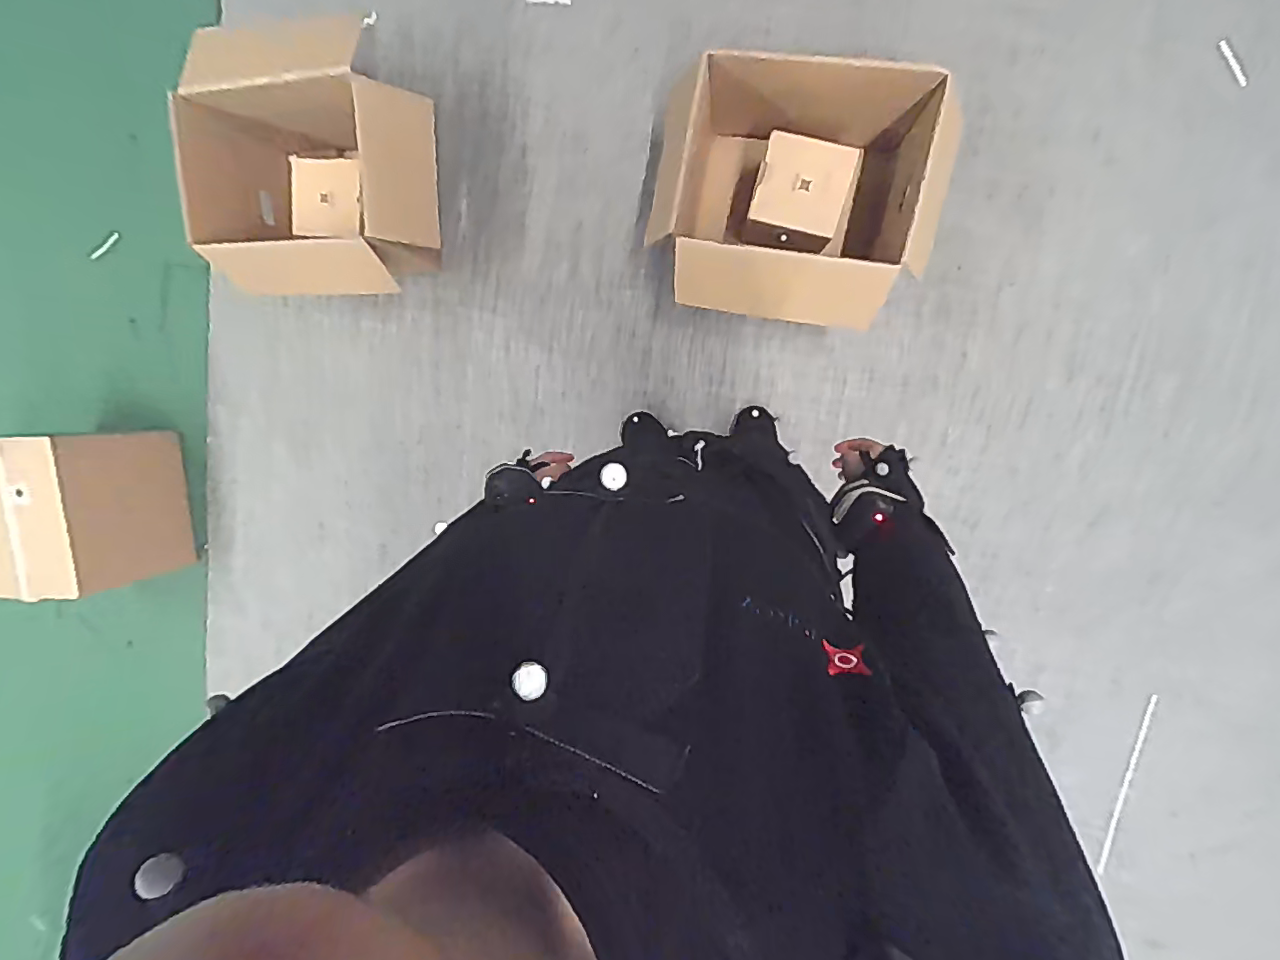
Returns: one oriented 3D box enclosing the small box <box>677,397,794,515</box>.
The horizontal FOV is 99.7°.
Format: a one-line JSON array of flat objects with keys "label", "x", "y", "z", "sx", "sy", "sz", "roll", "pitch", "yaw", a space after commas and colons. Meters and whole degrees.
[{"label": "small box", "x": 0.214, "y": -0.044, "z": 1.208, "sx": 0.179, "sy": 0.168, "sz": 0.176, "roll": 42, "pitch": 131, "yaw": -12}]
